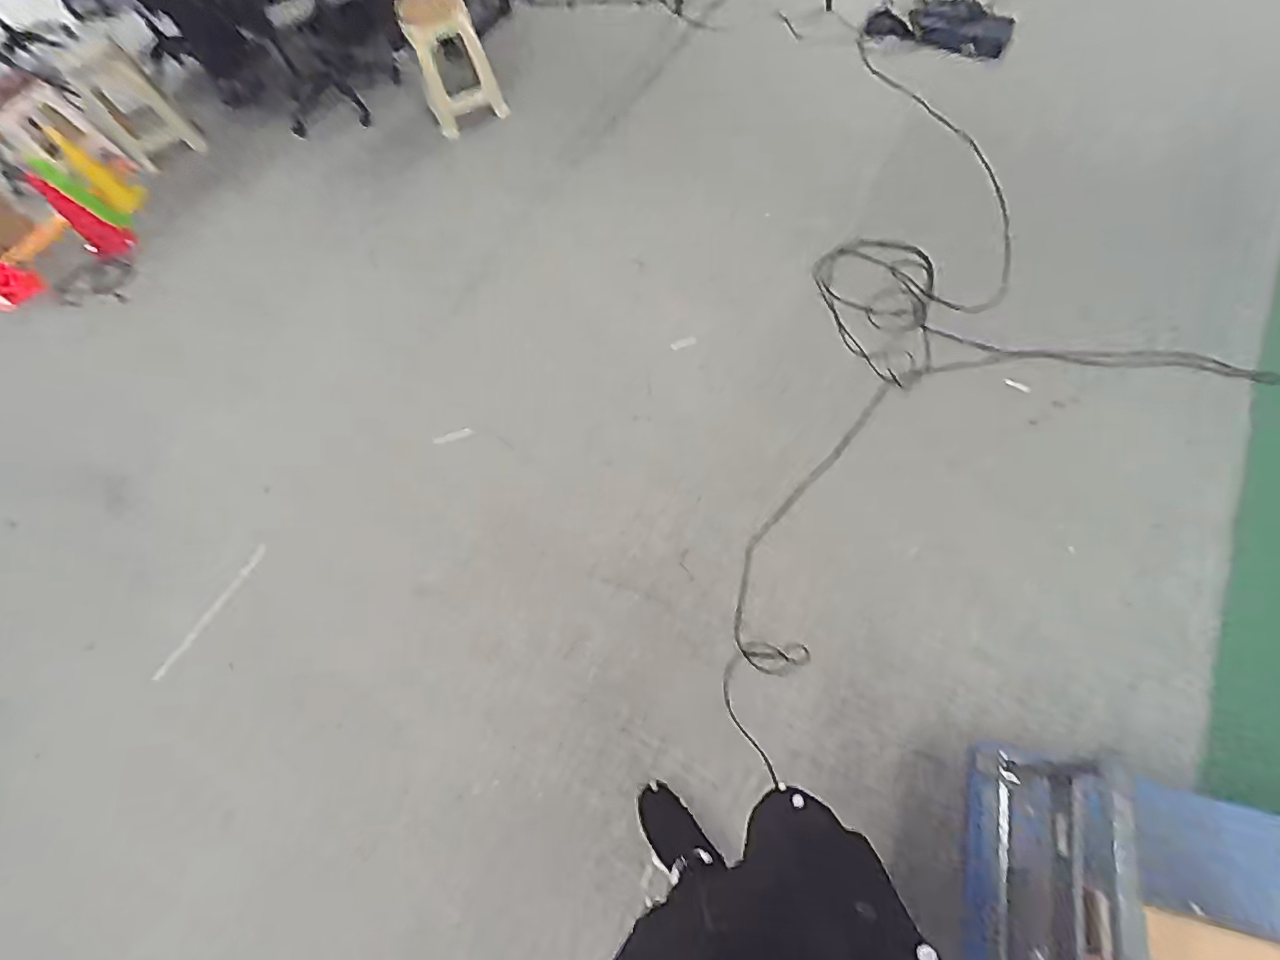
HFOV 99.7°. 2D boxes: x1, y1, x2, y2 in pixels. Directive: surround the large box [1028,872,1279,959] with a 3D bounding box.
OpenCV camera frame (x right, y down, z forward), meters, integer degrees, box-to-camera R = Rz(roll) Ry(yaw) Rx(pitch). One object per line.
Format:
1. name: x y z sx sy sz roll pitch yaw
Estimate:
1. large box: 0.888 0.858 0.827 0.408 0.320 0.320 7 65 19
